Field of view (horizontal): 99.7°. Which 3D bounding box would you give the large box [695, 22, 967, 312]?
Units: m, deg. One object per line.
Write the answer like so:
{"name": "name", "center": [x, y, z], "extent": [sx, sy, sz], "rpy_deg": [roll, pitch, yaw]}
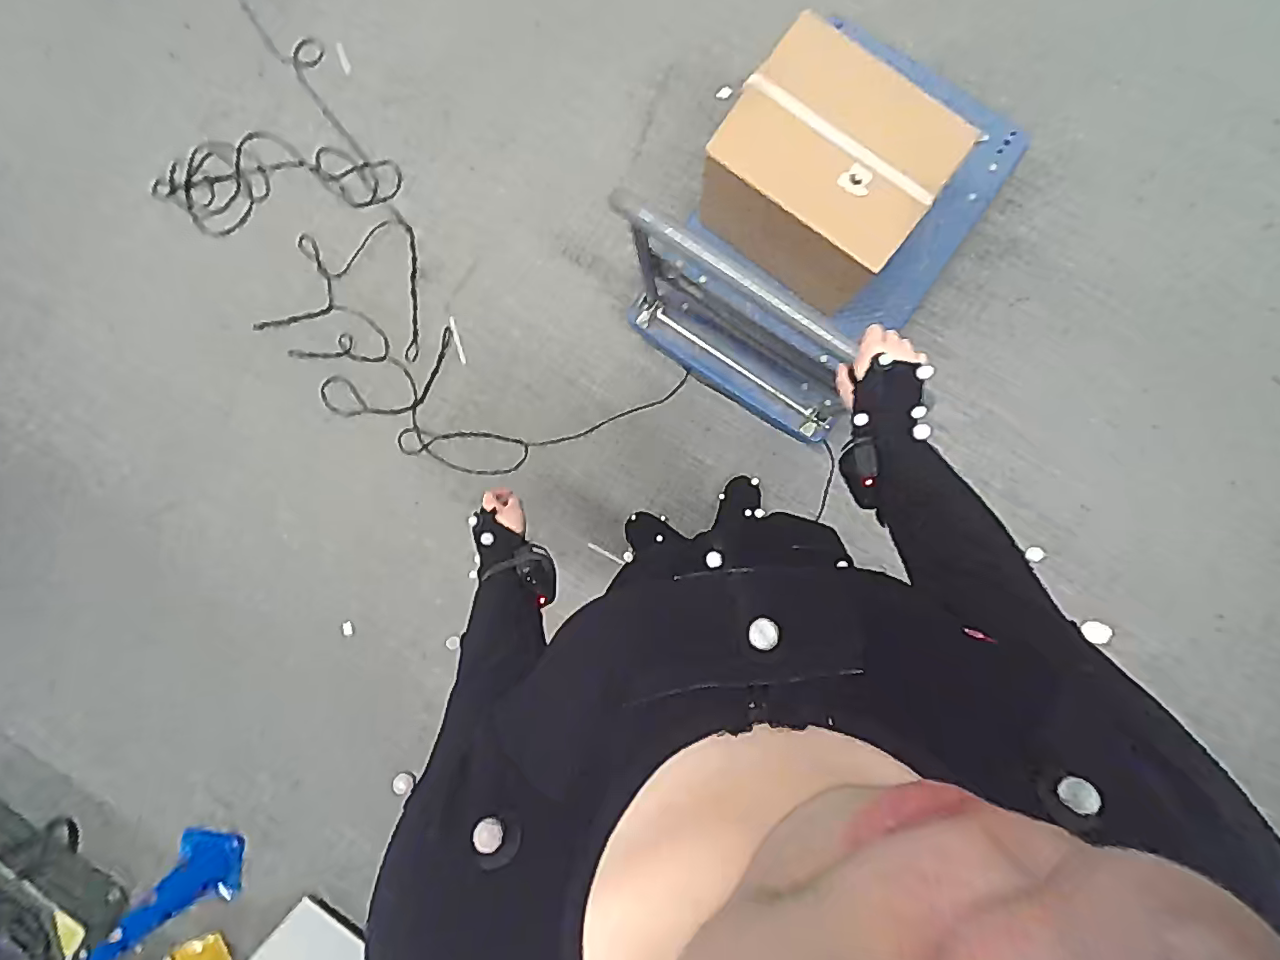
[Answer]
{"name": "large box", "center": [0.371, -0.638, 1.170], "extent": [0.408, 0.320, 0.320], "rpy_deg": [36, 94, 2]}
